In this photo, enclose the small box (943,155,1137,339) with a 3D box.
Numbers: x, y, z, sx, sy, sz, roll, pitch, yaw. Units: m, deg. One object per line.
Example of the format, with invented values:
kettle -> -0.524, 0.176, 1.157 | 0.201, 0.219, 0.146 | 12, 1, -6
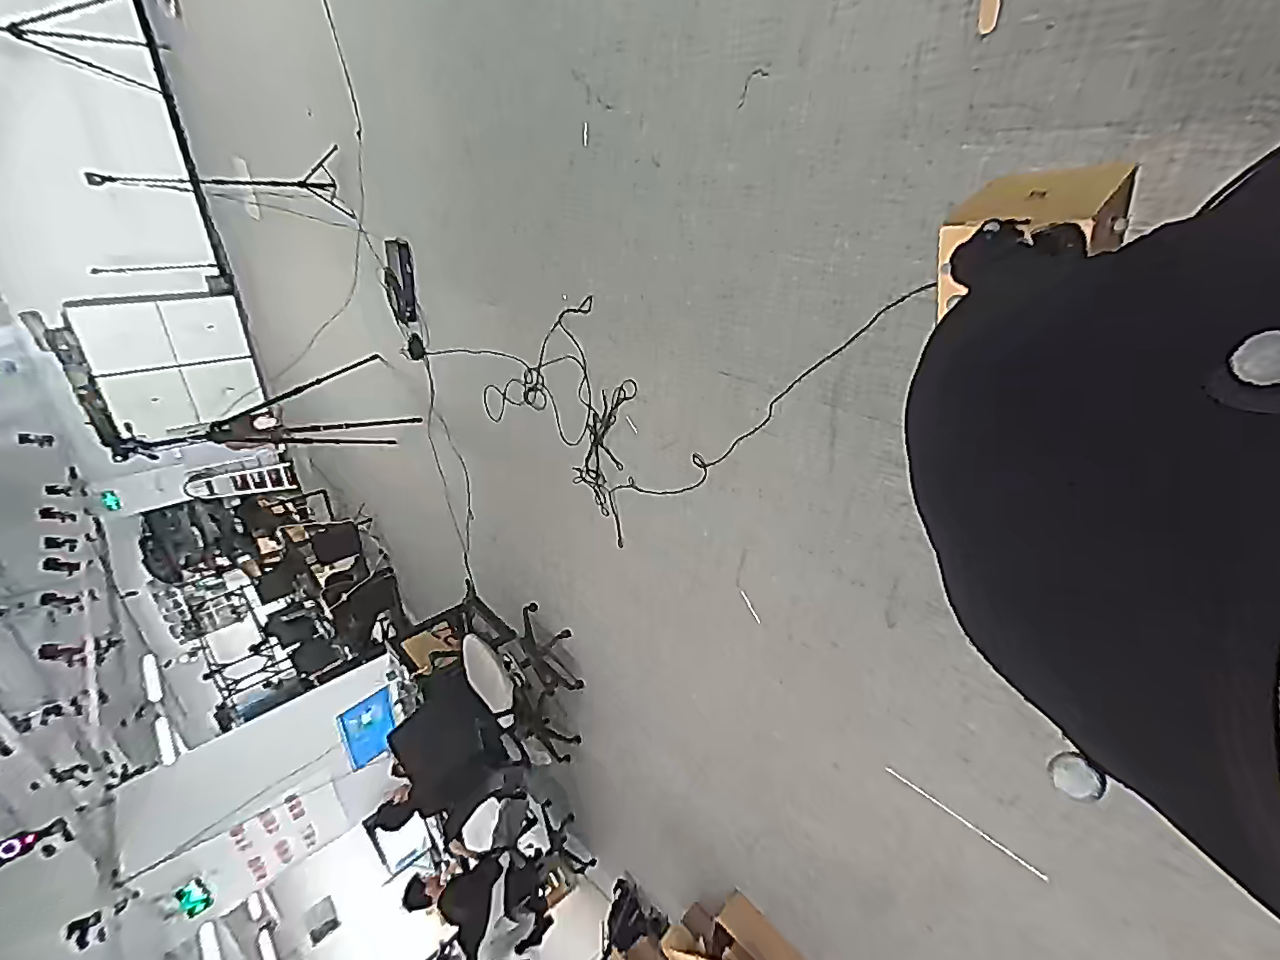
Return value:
small box -> 0.536, -0.316, 0.743 | 0.168, 0.179, 0.176 | 22, 145, 44
